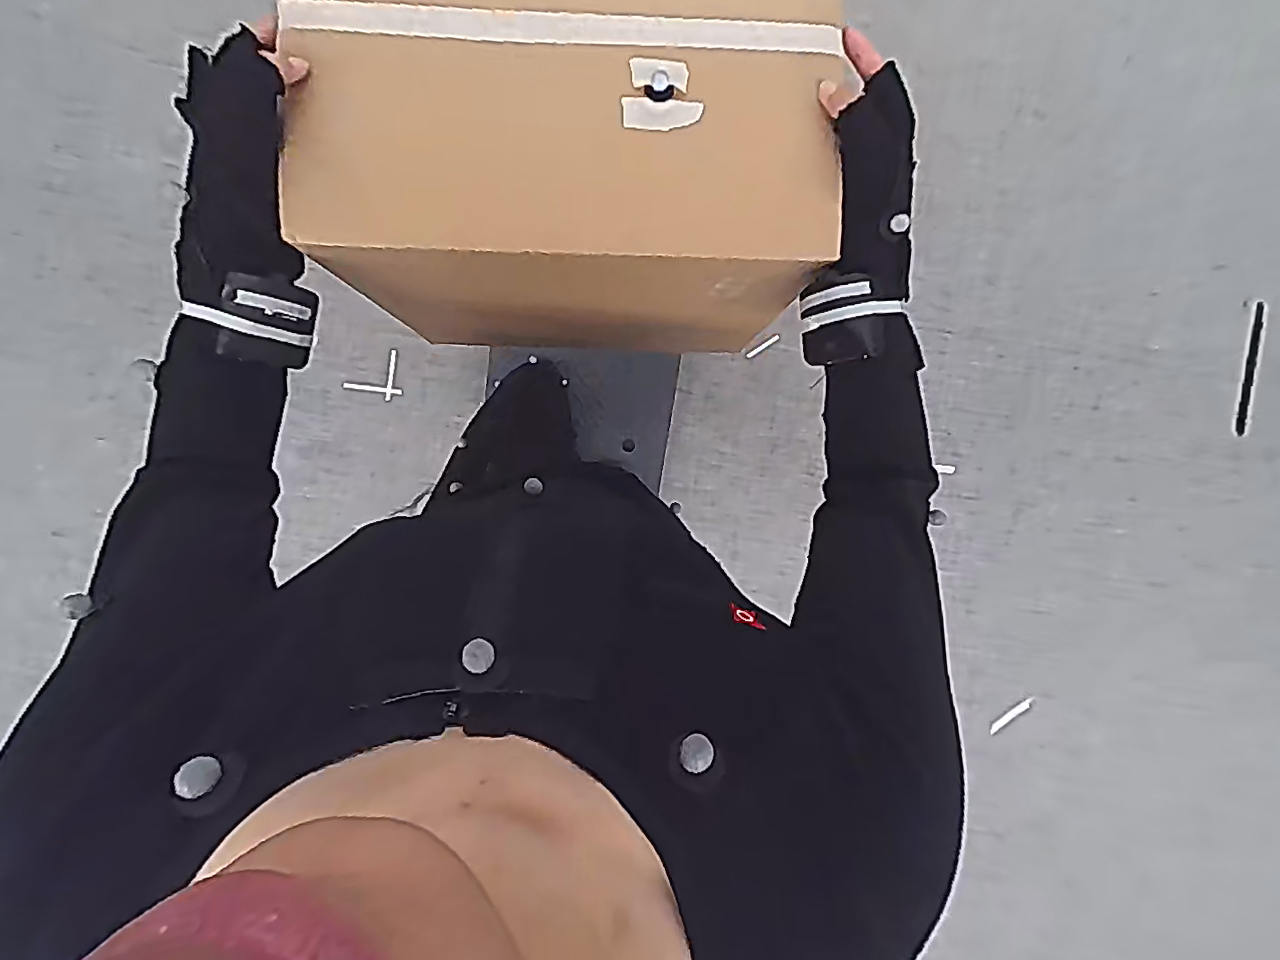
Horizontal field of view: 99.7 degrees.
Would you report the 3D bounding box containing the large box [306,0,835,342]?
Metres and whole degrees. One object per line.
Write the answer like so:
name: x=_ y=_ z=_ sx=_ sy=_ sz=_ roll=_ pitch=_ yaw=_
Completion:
large box: x=-0.057 y=-0.333 z=0.557 sx=0.408 sy=0.320 sz=0.320 roll=1 pitch=91 yaw=-3
